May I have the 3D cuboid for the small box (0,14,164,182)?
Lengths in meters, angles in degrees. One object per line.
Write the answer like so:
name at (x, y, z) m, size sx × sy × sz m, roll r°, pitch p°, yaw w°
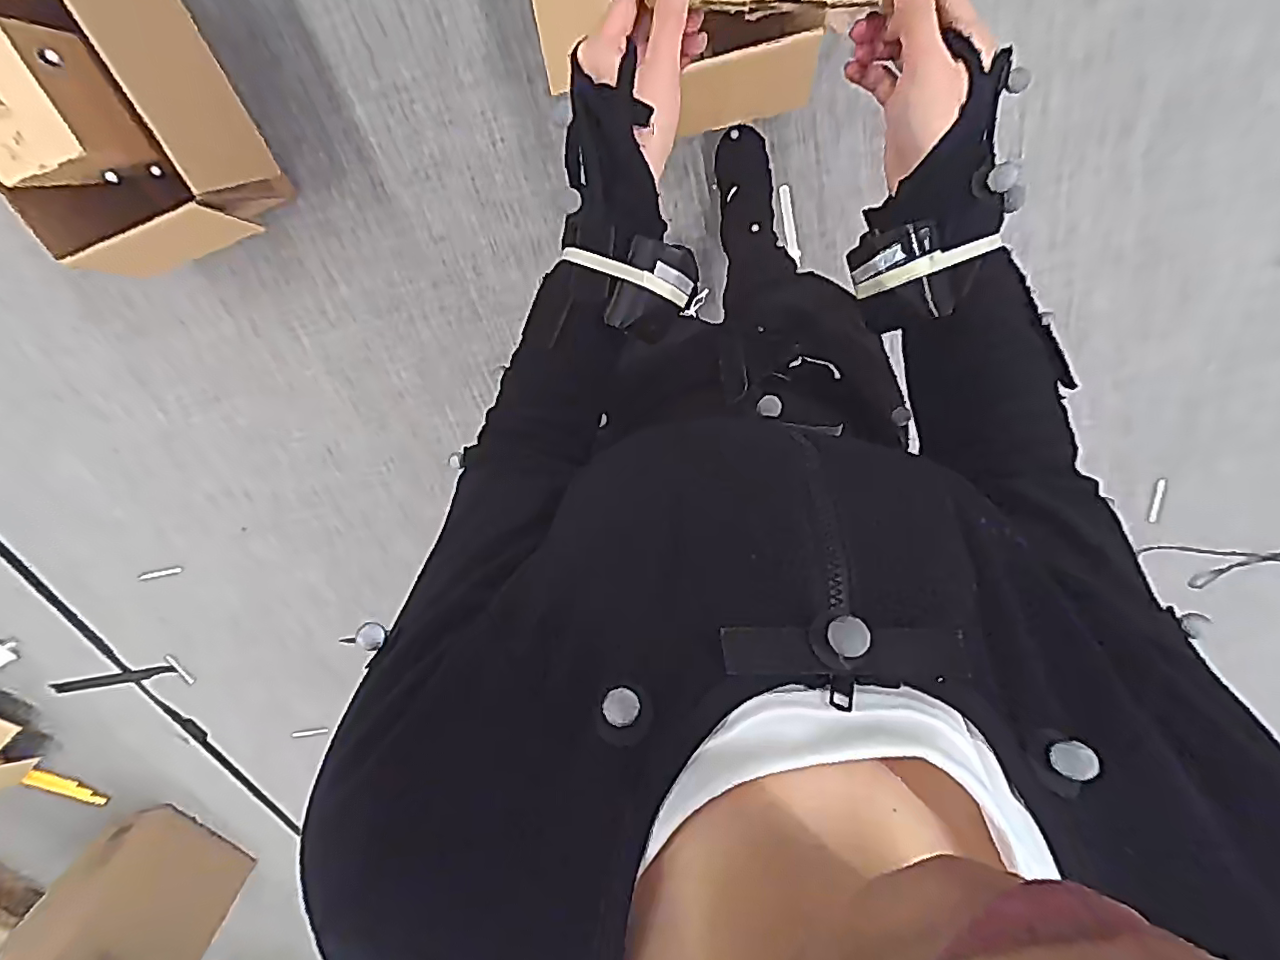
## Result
small box at (-0.949, -0.598, 0.872) m, size 0.168 × 0.176 × 0.179 m, roll -13°, pitch 118°, yaw 10°
